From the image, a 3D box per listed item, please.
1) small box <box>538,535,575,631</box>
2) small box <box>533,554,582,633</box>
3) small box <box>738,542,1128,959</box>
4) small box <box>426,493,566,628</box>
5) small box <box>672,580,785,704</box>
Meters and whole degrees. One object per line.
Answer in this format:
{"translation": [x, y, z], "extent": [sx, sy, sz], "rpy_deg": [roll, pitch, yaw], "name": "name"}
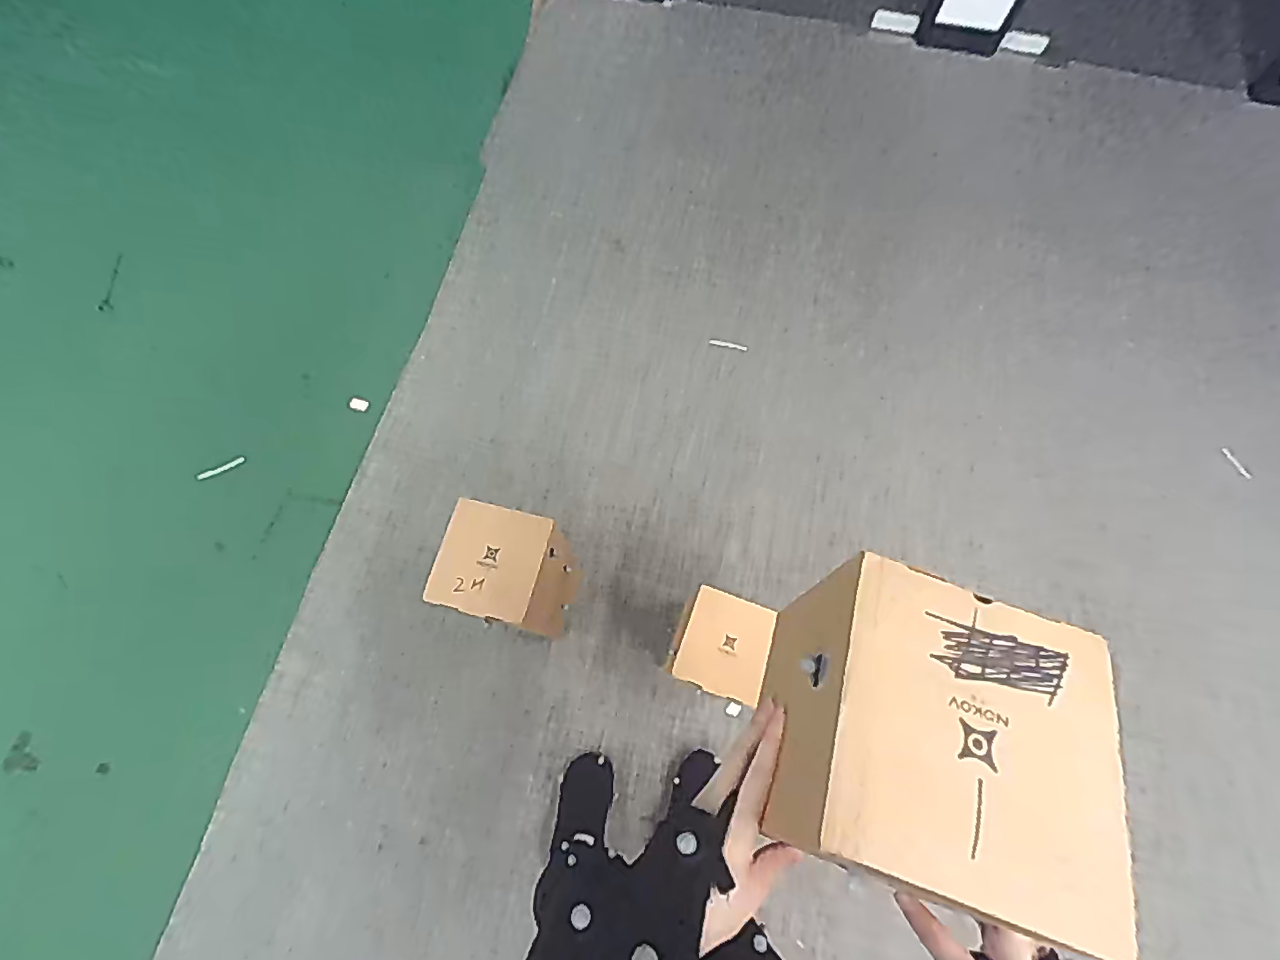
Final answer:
{"translation": [-0.235, 0.194, 1.084], "extent": [0.168, 0.176, 0.179], "rpy_deg": [13, 73, 5], "name": "small box"}
{"translation": [-0.238, 0.244, 1.239], "extent": [0.168, 0.176, 0.179], "rpy_deg": [16, 73, 5], "name": "small box"}
{"translation": [0.182, 0.175, 0.381], "extent": [0.168, 0.176, 0.179], "rpy_deg": [20, 62, 4], "name": "small box"}
{"translation": [-0.232, 0.144, 0.927], "extent": [0.168, 0.176, 0.179], "rpy_deg": [13, 71, 5], "name": "small box"}
{"translation": [0.165, 0.314, 1.047], "extent": [0.168, 0.176, 0.179], "rpy_deg": [20, 73, 6], "name": "small box"}
